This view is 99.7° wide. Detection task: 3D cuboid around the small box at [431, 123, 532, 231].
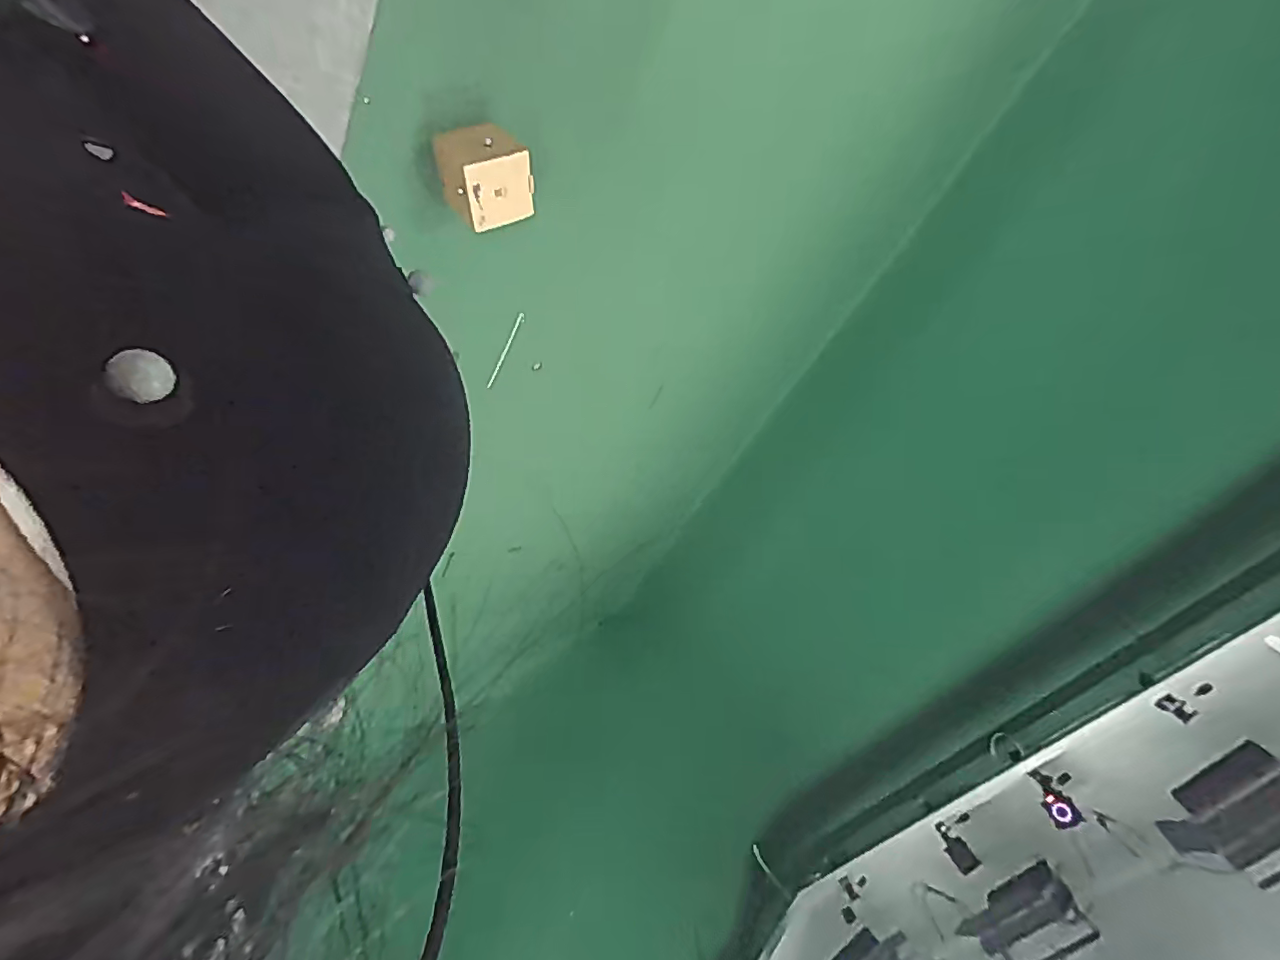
[{"bbox_3d":[-0.394,-0.767,1.360,0.179,0.176,0.168,-31,154,-24],"label":"small box"}]
